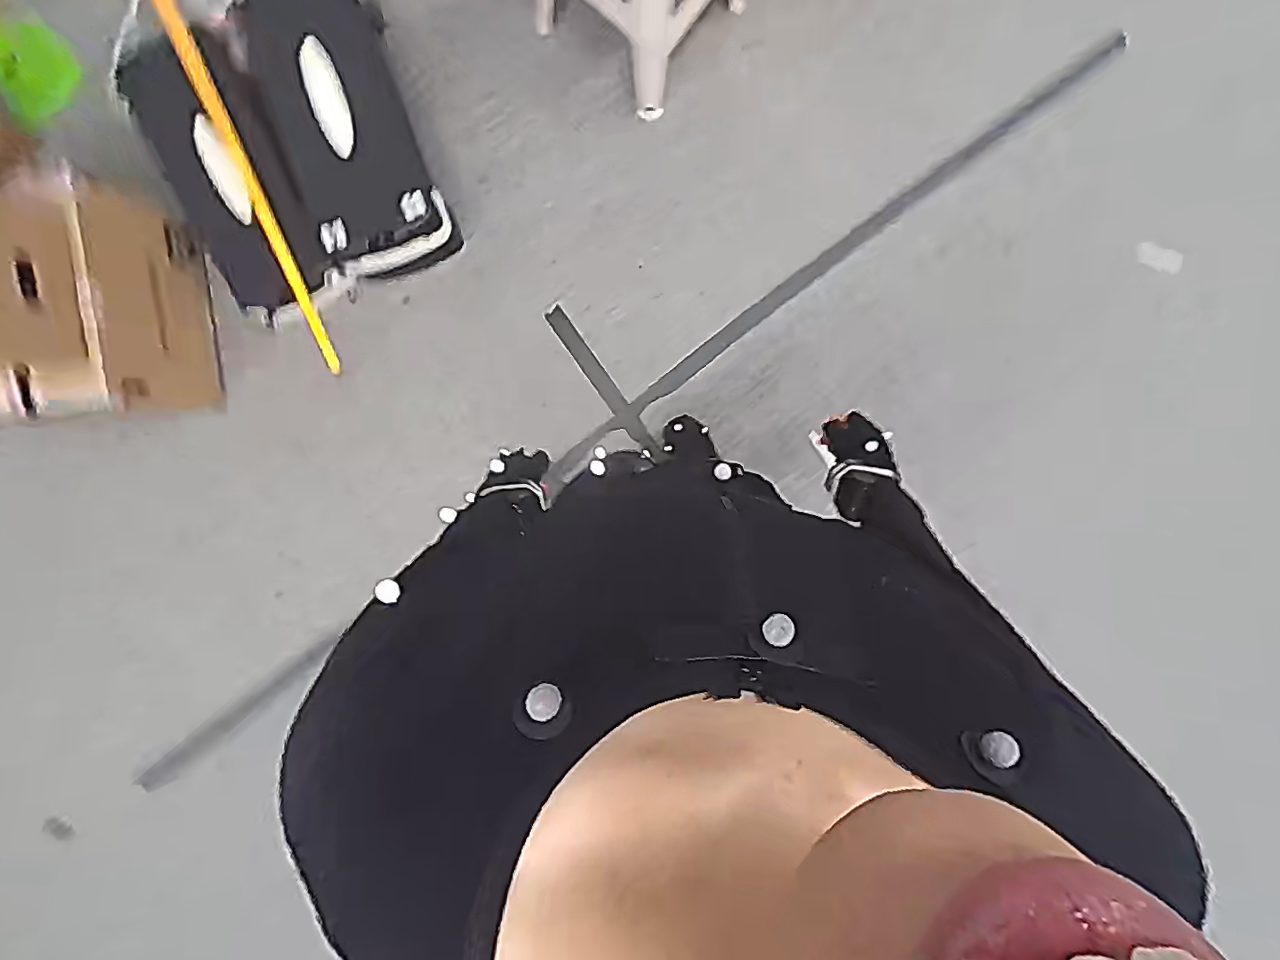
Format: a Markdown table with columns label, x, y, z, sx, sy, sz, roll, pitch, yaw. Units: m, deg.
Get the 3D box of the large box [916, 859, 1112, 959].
| label | x | y | z | sx | sy | sz | roll | pitch | yaw |
| --- | --- | --- | --- | --- | --- | --- | --- | --- | --- |
| large box | 1.072 | 1.369 | 1.479 | 0.408 | 0.320 | 0.320 | -38 | 94 | 3 |
